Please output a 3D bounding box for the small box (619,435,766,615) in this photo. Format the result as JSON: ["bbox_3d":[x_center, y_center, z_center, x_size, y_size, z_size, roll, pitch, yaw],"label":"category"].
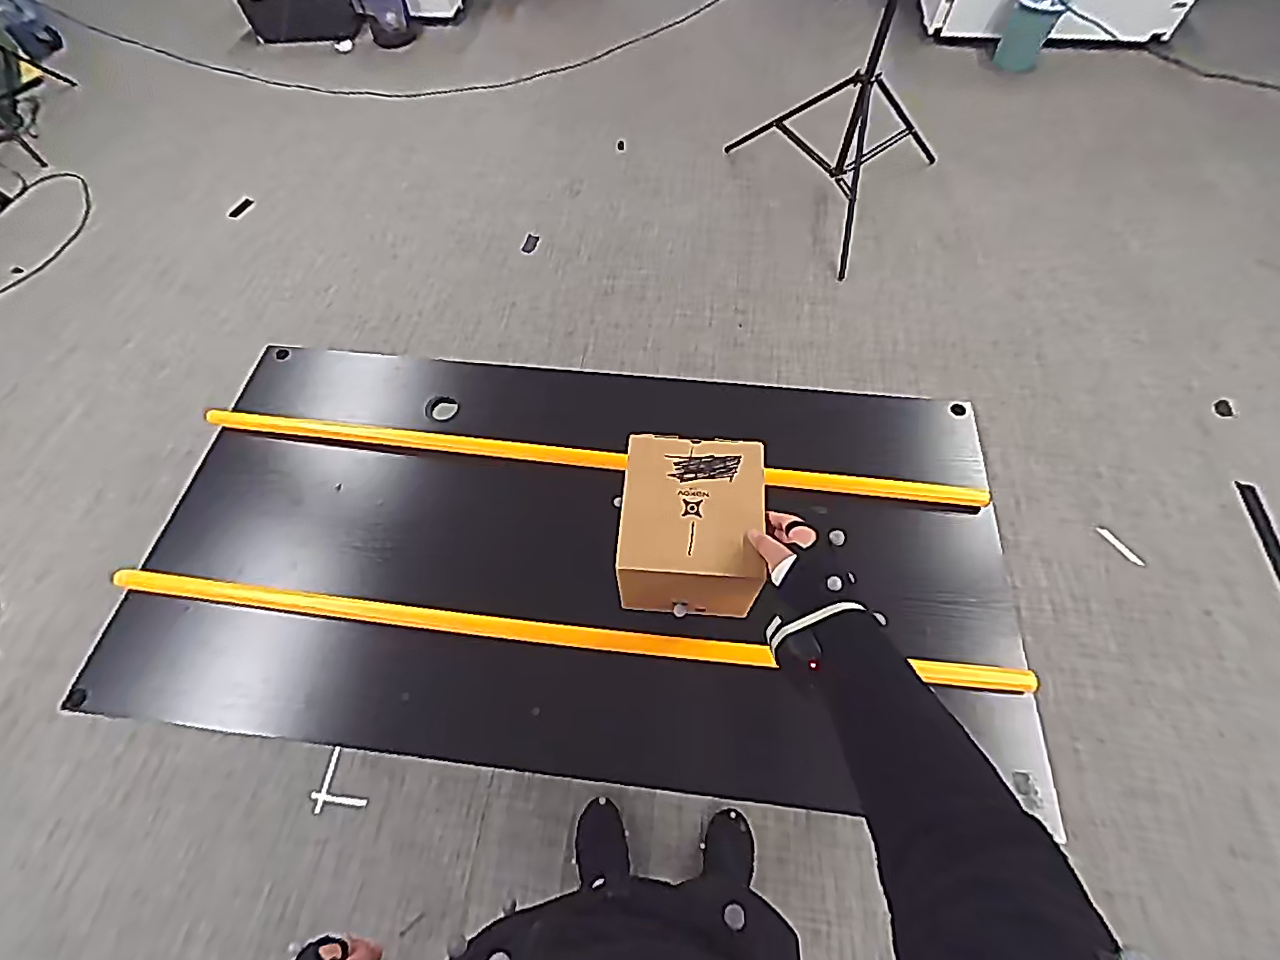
[{"bbox_3d":[0.066,0.063,0.701,0.168,0.176,0.179,3,62,4],"label":"small box"}]
